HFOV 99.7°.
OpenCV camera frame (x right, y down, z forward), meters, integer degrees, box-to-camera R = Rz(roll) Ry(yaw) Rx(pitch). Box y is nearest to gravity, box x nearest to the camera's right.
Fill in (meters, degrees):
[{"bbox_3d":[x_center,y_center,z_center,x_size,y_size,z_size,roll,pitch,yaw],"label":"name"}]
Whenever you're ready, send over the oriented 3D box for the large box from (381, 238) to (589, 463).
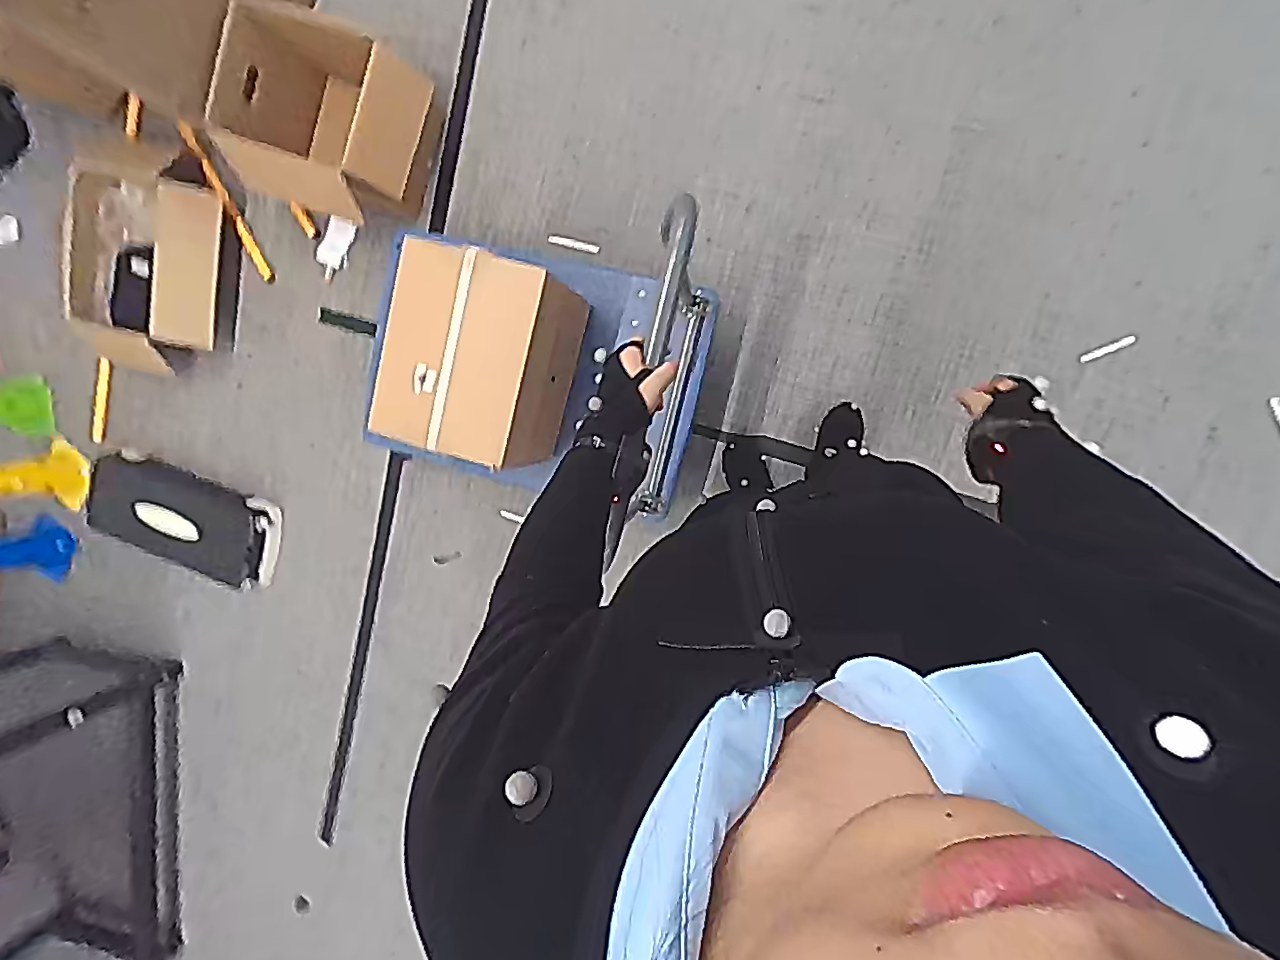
[{"bbox_3d":[-0.337,-0.282,1.242,0.320,0.320,0.408,16,100,10],"label":"large box"}]
